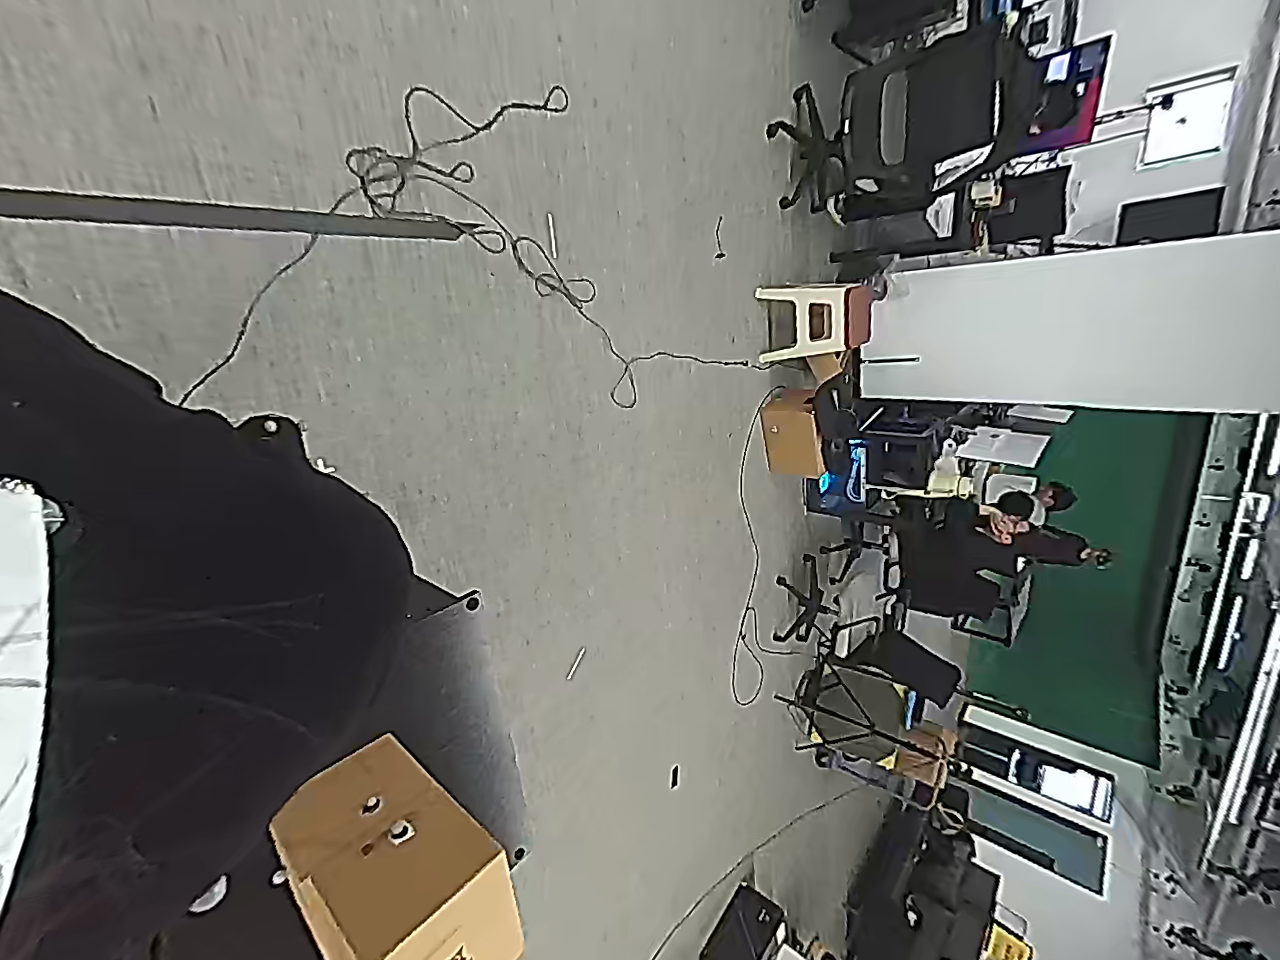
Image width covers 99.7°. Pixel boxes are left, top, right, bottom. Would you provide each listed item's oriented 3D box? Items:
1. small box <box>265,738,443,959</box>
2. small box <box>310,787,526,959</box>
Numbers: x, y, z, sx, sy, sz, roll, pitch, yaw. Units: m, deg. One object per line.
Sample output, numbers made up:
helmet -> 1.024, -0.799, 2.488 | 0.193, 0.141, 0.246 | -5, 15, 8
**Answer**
small box -> -0.388, 0.505, 0.761 | 0.179, 0.176, 0.168 | -21, 113, -44
small box -> -0.266, 0.523, 0.656 | 0.168, 0.176, 0.179 | -24, 114, -45
